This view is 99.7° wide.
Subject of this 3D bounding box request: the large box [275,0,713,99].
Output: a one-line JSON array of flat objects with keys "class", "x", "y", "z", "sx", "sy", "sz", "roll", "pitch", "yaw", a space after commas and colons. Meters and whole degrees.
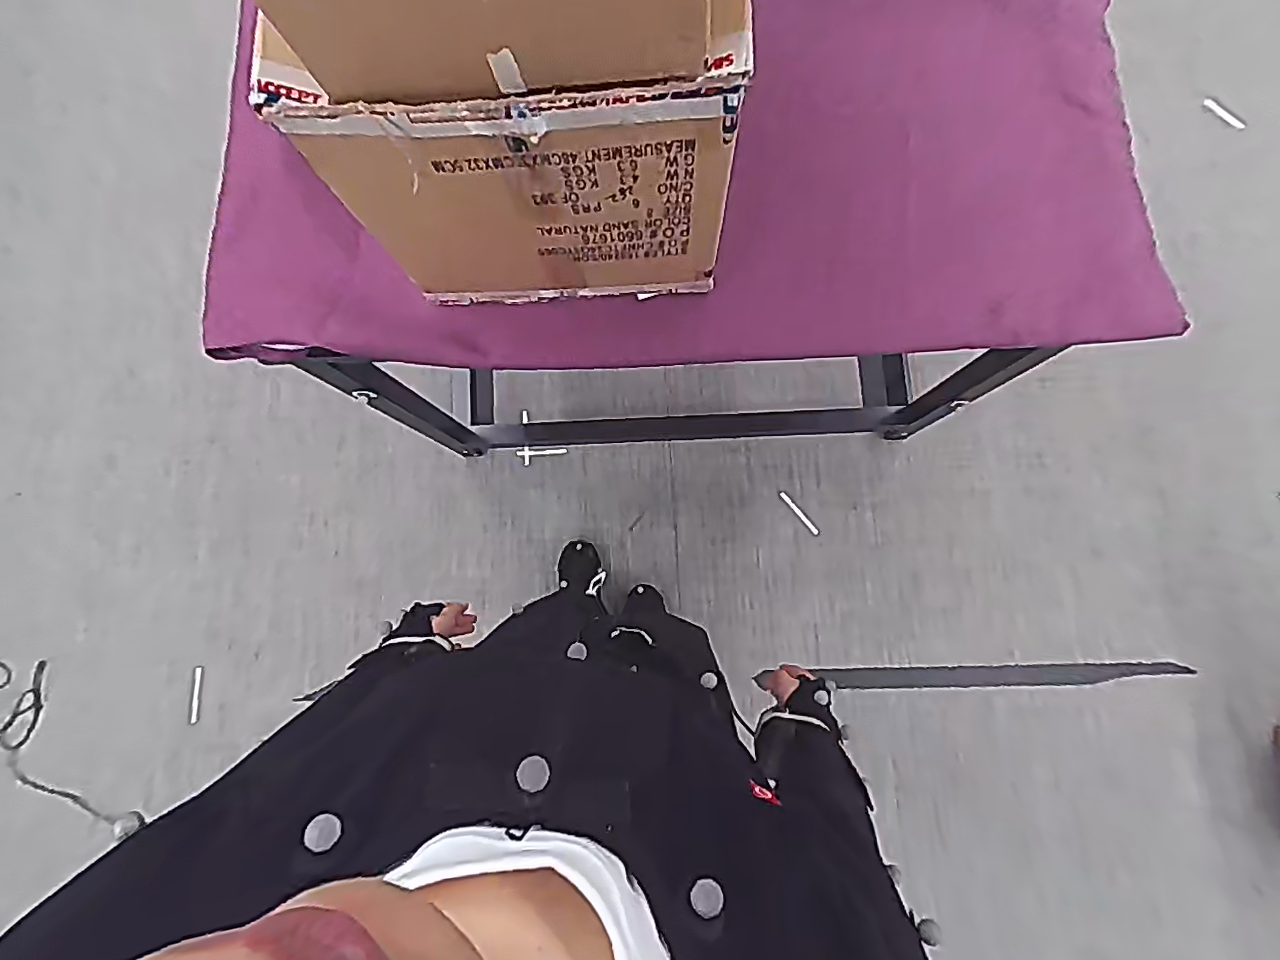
[{"class": "large box", "x": -0.115, "y": -0.538, "z": 0.320, "sx": 0.320, "sy": 0.320, "sz": 0.408, "roll": -2, "pitch": 81, "yaw": 7}]
